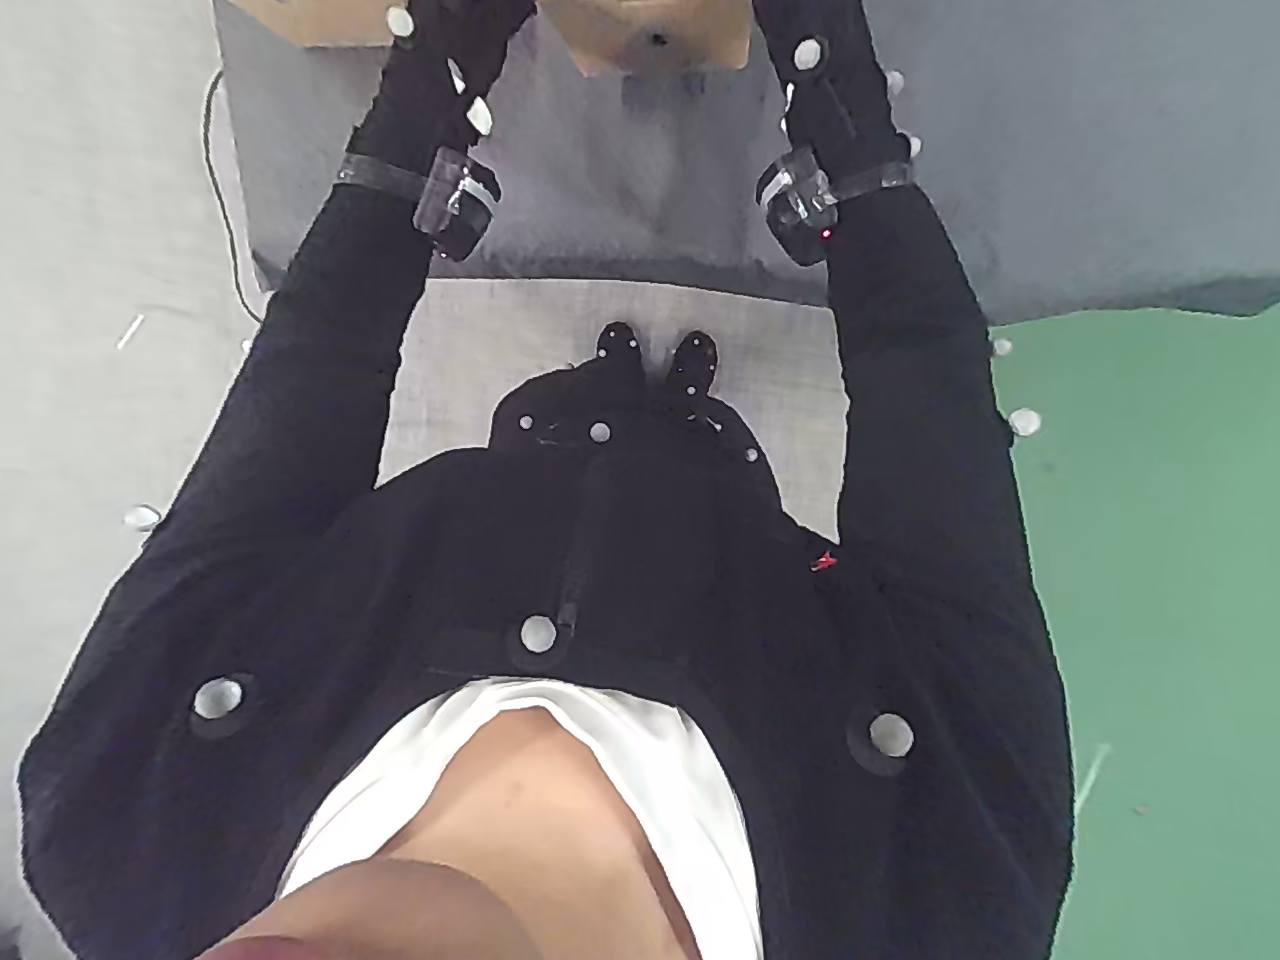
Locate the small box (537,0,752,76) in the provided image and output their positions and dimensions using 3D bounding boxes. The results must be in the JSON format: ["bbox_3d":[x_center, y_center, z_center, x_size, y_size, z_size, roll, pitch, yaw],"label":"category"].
[{"bbox_3d":[0.013,-0.461,0.446,0.168,0.176,0.179,2,110,7],"label":"small box"}]

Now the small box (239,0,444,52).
[{"bbox_3d":[-0.309,-0.539,0.512,0.179,0.176,0.168,3,107,5],"label":"small box"}]
